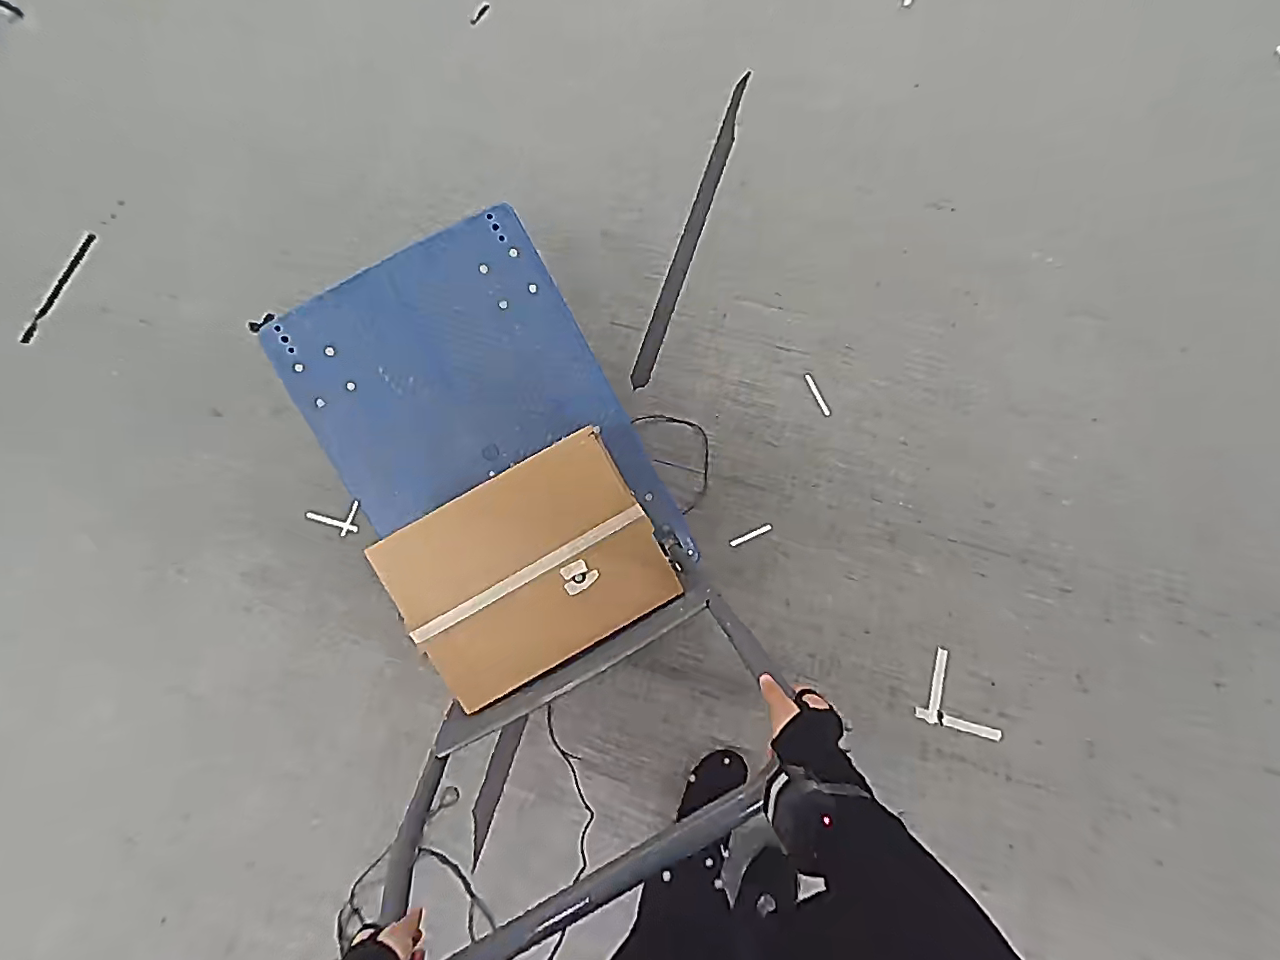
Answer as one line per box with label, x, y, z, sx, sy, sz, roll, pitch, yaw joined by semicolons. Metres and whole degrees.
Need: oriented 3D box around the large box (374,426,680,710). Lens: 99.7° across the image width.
large box;-0.192;0.136;1.019;0.408;0.320;0.320;-31;97;-4
